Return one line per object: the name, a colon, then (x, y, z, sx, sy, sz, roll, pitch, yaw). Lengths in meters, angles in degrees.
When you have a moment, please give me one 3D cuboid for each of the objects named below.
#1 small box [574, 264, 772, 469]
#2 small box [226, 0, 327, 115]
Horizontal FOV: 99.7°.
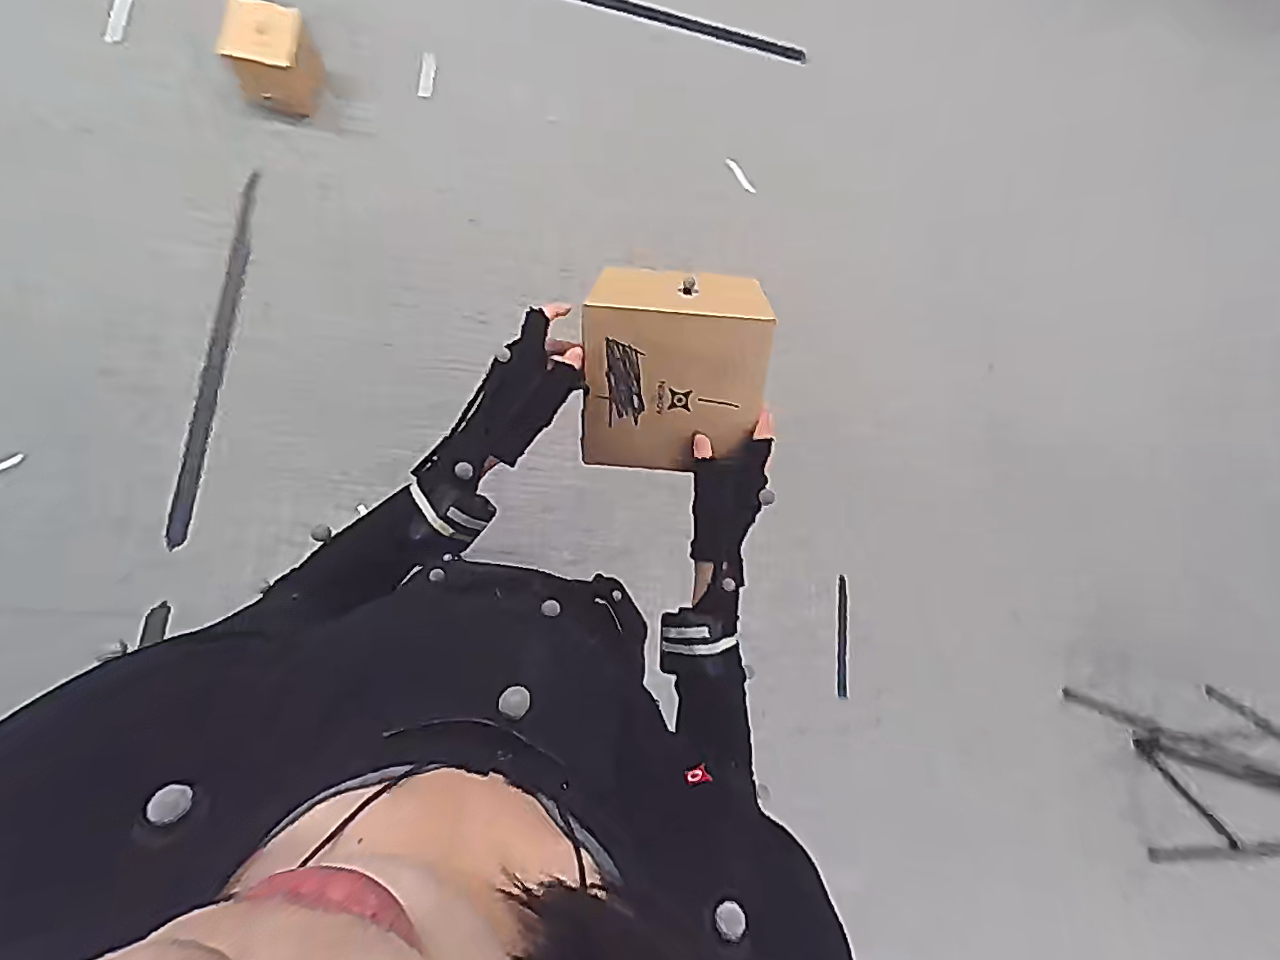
small box: (0.029, -0.129, 0.582, 0.179, 0.176, 0.168, 4, 122, 1)
small box: (-0.976, -1.149, 1.470, 0.168, 0.176, 0.179, 7, 82, -10)
